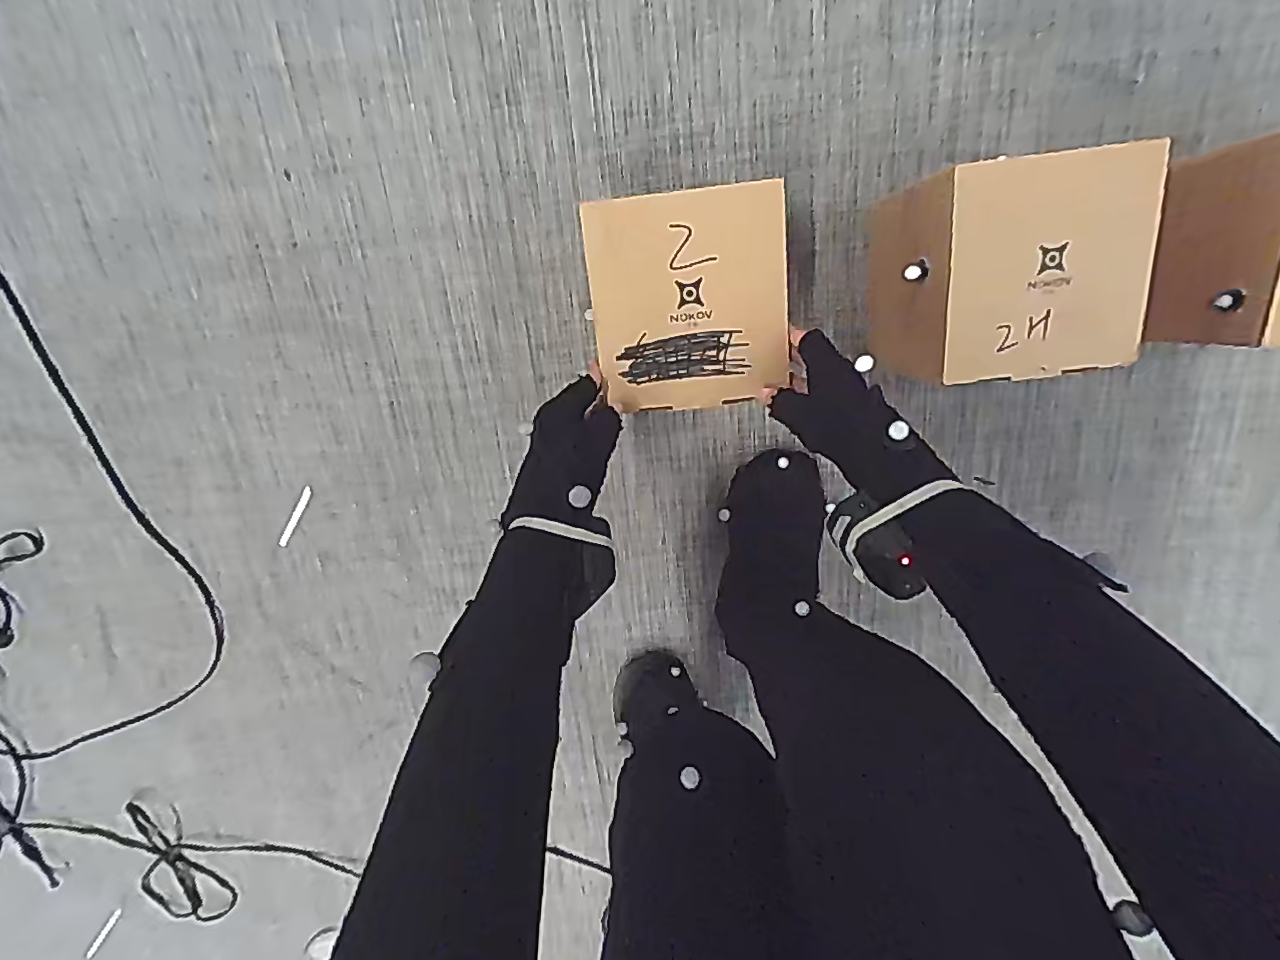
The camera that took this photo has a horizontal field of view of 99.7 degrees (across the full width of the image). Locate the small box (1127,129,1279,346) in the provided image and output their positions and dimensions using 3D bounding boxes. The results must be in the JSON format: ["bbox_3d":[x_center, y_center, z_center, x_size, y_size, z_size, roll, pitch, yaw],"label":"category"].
[{"bbox_3d":[0.593,-0.226,0.512,0.168,0.176,0.179,-4,108,1],"label":"small box"}]

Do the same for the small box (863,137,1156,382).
[{"bbox_3d":[0.326,-0.199,0.520,0.168,0.176,0.179,-5,108,4],"label":"small box"}]
